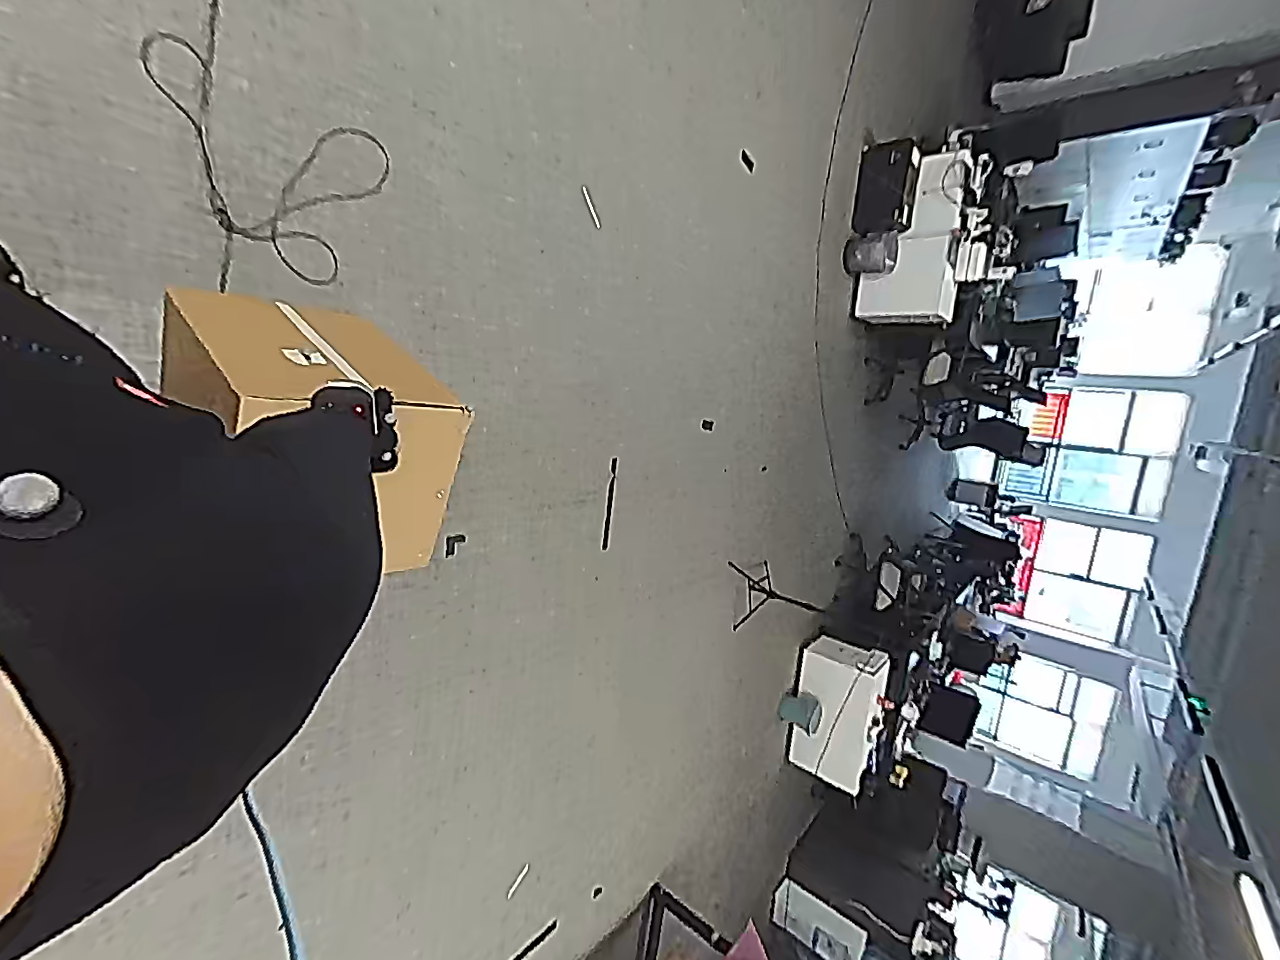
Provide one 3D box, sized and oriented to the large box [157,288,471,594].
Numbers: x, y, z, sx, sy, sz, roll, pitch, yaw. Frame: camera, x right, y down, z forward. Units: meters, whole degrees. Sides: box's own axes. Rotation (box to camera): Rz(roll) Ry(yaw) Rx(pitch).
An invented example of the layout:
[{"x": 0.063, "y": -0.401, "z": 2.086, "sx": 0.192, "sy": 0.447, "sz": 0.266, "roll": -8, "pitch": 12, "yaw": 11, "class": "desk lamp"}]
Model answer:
[{"x": -0.561, "y": -0.076, "z": 0.913, "sx": 0.320, "sy": 0.408, "sz": 0.320, "roll": -6, "pitch": 126, "yaw": -51, "class": "large box"}]
